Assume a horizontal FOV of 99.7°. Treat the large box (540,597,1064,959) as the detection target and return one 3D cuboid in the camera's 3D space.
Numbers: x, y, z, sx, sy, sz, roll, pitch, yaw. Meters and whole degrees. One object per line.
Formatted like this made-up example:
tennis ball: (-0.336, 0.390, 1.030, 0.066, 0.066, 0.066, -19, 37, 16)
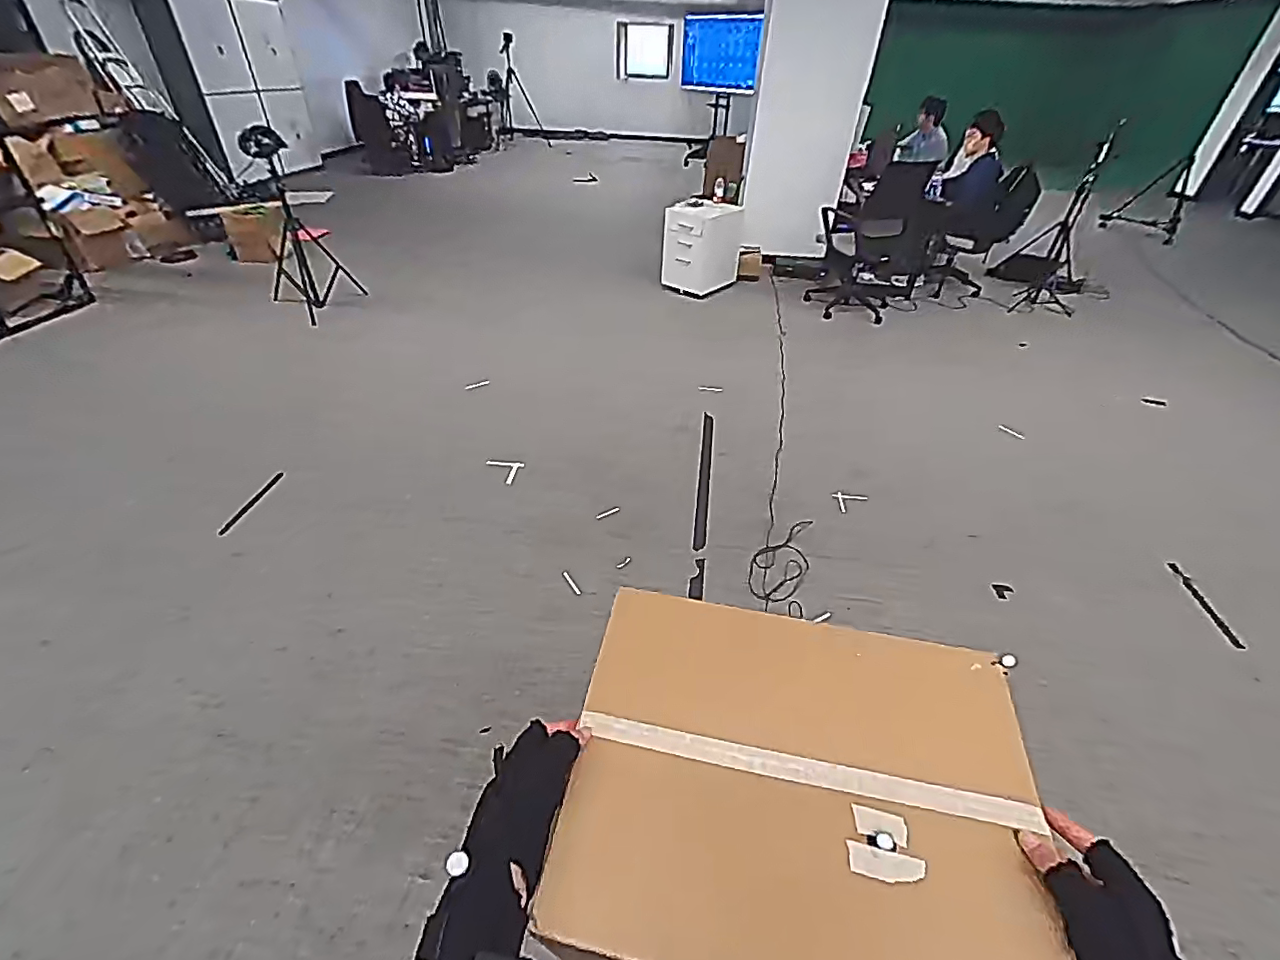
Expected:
large box: (0.141, 0.372, 0.602, 0.408, 0.320, 0.320, 8, 46, 9)
